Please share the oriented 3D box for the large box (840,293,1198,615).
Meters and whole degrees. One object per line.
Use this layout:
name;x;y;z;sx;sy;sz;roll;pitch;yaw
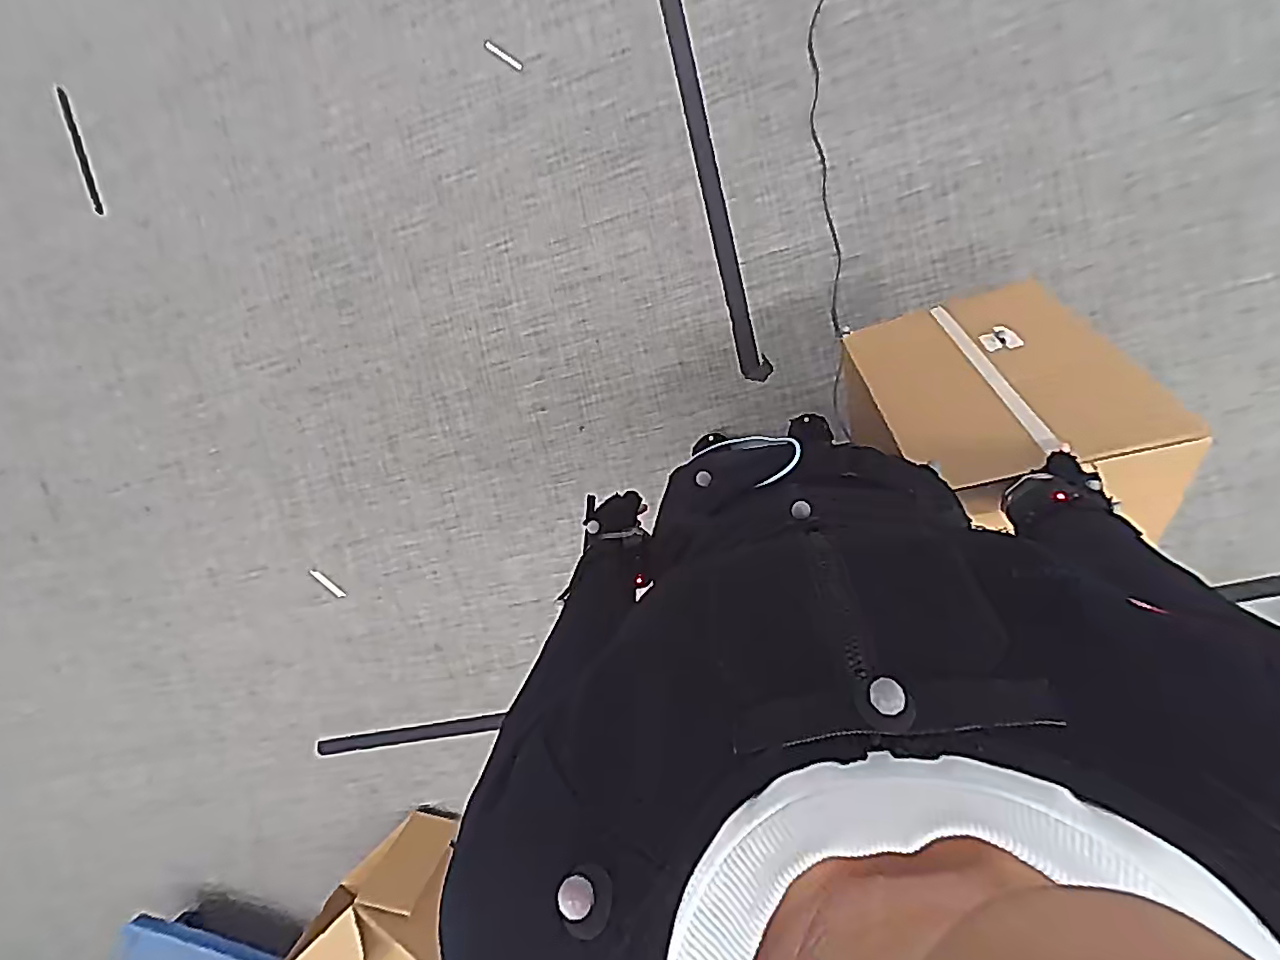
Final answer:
large box;0.559;-0.046;0.904;0.320;0.408;0.320;-13;132;11
